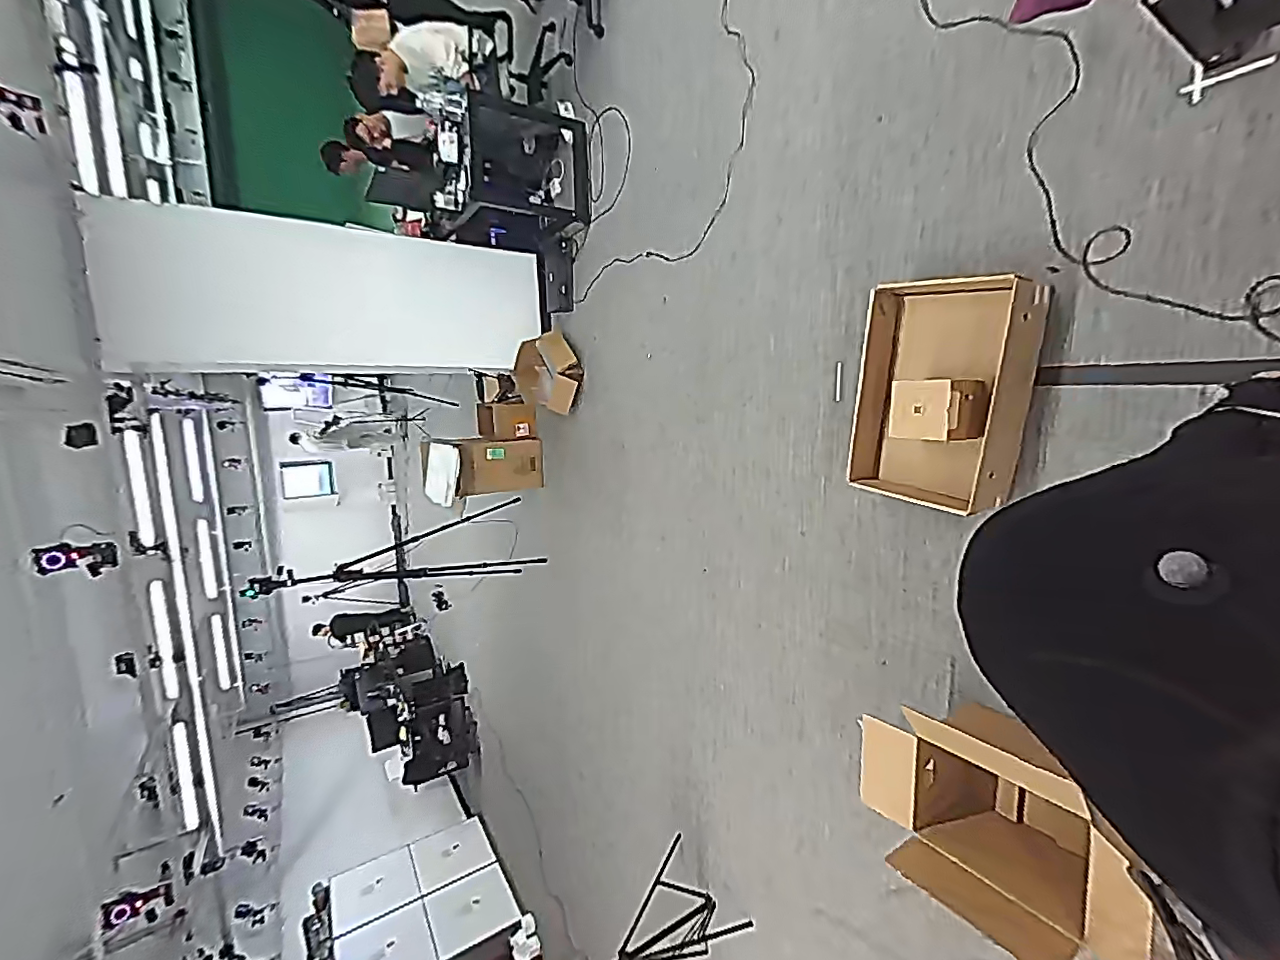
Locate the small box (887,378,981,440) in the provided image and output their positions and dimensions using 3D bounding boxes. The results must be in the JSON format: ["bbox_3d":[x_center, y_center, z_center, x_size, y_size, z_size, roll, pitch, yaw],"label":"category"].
[{"bbox_3d":[0.838,-0.205,1.540,0.179,0.176,0.168,14,106,56],"label":"small box"}]
